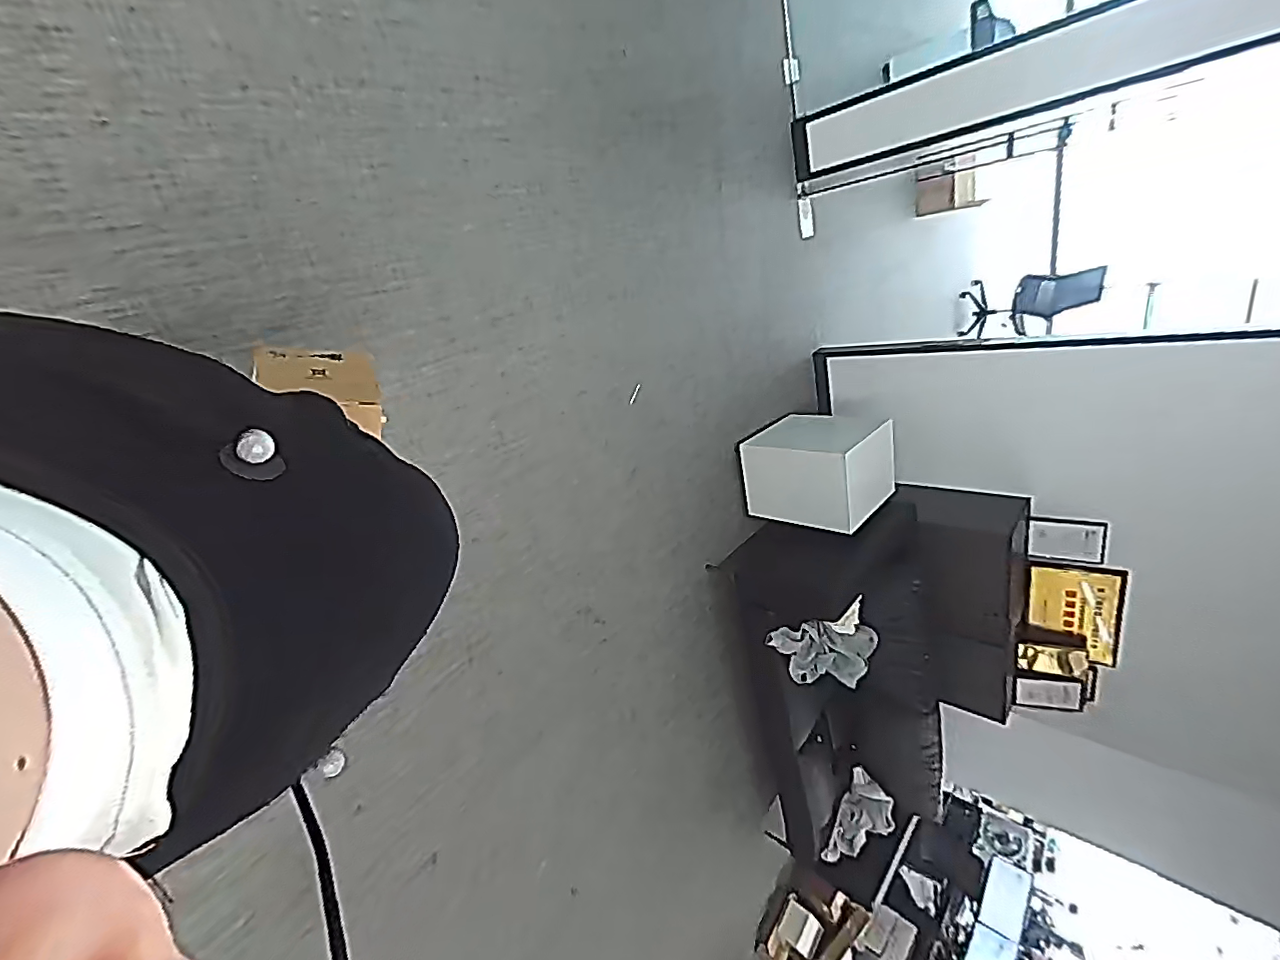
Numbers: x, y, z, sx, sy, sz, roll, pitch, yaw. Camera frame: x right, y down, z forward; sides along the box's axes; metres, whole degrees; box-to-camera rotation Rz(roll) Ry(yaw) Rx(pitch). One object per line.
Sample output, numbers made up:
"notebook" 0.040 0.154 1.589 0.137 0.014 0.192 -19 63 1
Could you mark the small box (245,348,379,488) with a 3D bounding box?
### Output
"small box" -0.524 -0.098 0.876 0.168 0.179 0.176 -5 129 -31
